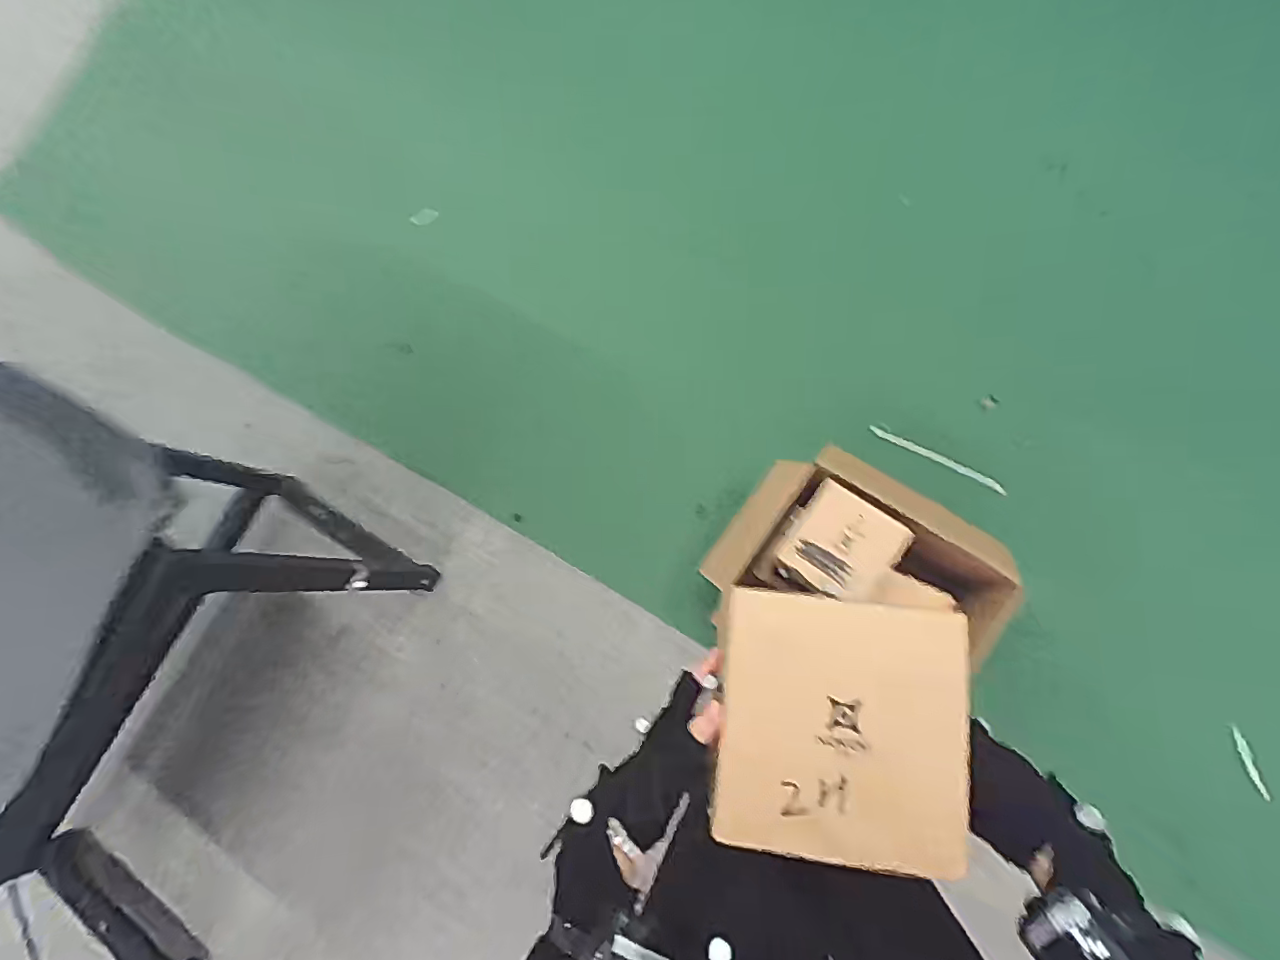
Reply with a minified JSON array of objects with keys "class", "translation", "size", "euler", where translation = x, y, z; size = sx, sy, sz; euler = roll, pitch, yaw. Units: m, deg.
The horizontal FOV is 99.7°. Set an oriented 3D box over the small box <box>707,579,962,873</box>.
[{"class":"small box","translation":[0.147,0.182,0.459],"size":[0.168,0.176,0.179],"euler":[5,81,8]}]
